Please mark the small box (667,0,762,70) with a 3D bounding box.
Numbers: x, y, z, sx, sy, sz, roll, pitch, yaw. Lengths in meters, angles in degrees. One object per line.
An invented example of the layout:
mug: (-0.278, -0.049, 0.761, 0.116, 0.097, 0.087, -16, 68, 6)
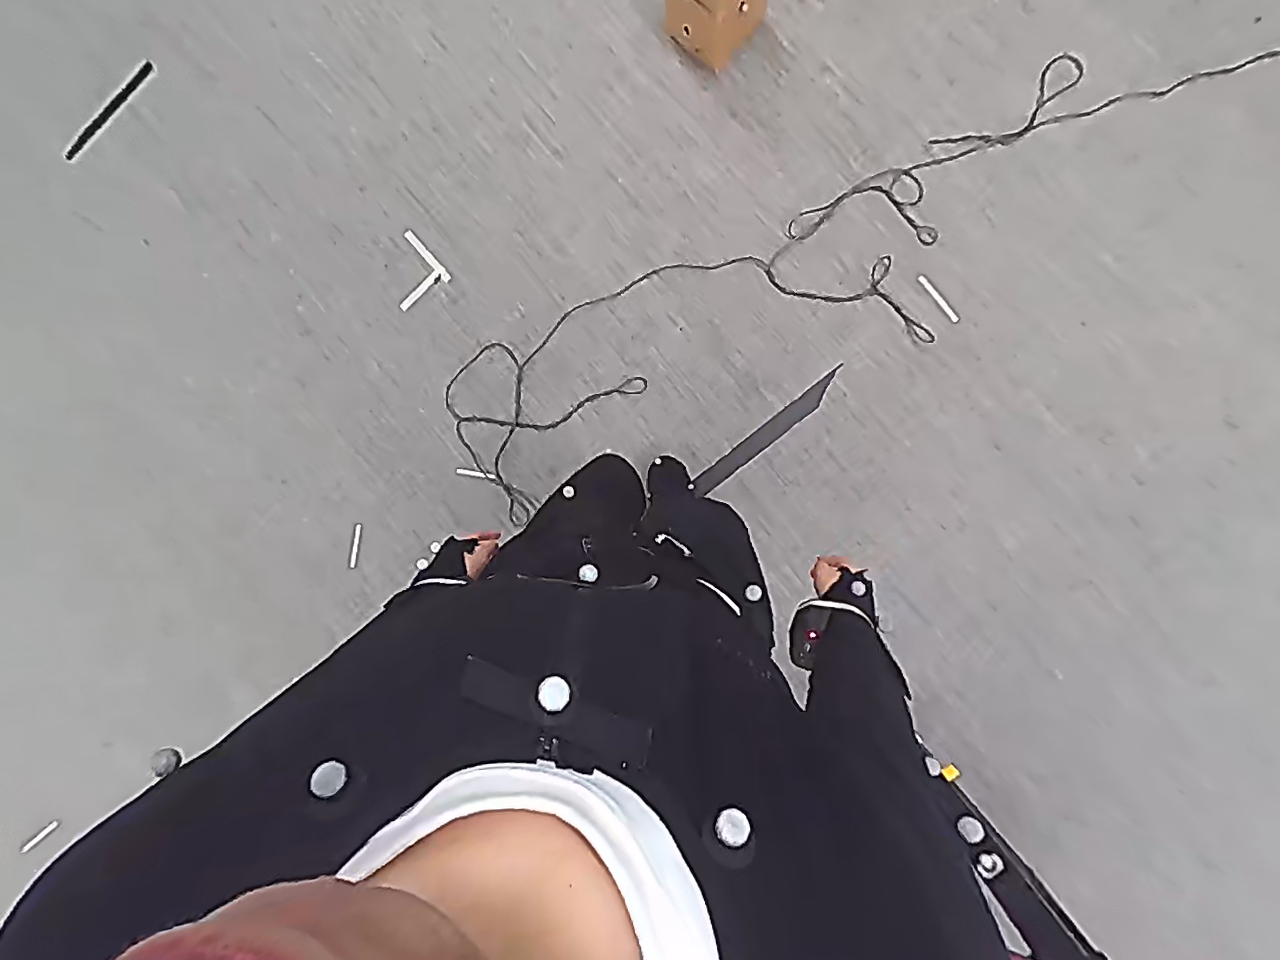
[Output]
small box: (0.170, -1.106, 1.234, 0.168, 0.176, 0.179, 44, 96, 3)
